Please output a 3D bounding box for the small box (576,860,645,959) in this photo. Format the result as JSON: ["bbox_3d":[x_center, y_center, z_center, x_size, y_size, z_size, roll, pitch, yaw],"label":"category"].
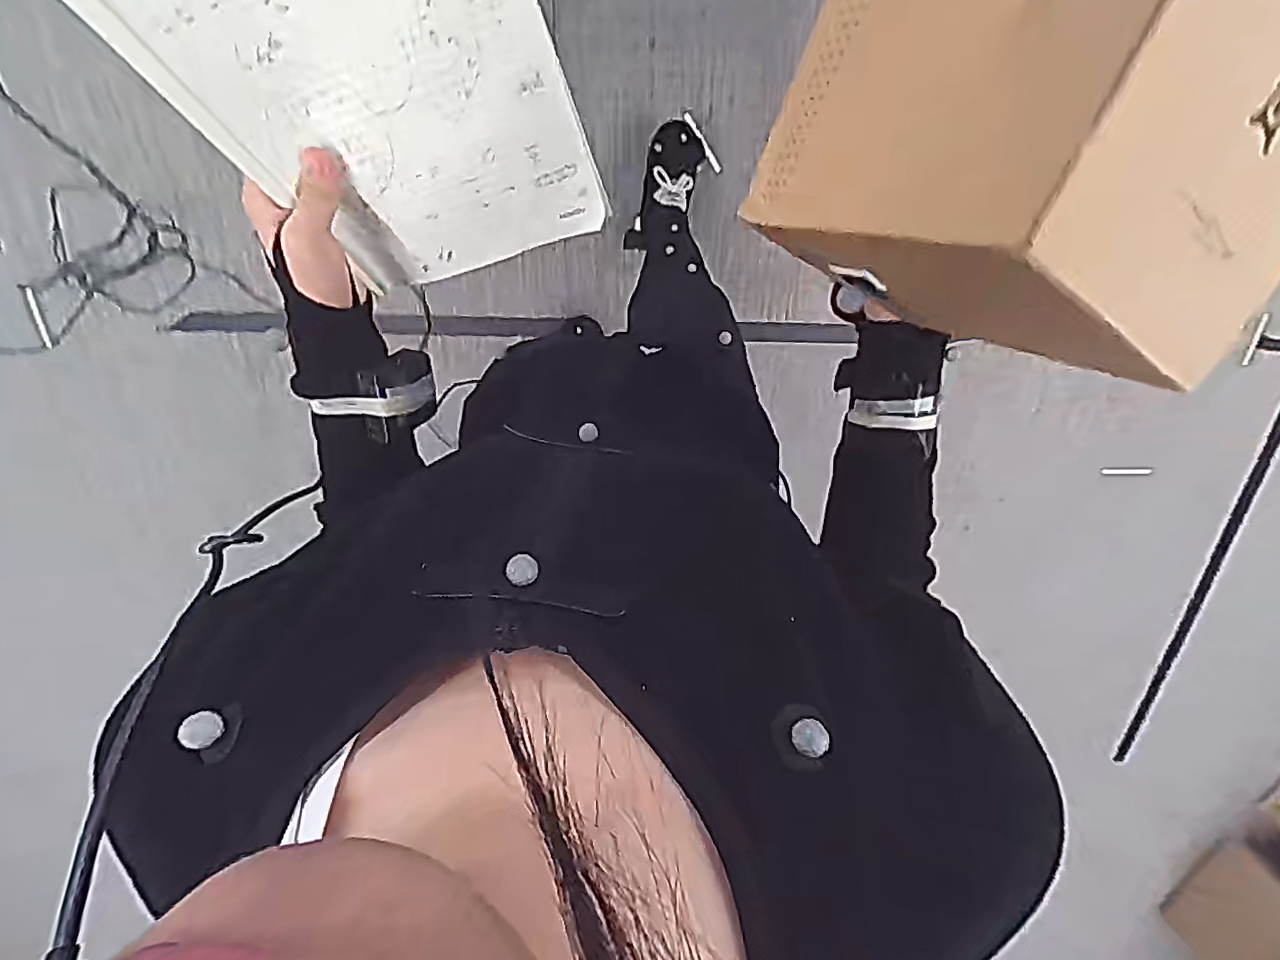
[{"bbox_3d":[-0.078,1.121,1.403,0.168,0.176,0.179,2,111,-3],"label":"small box"}]

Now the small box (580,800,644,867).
[{"bbox_3d":[-0.085,1.049,1.551,0.168,0.176,0.179,5,113,-5],"label":"small box"}]

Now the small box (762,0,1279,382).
[{"bbox_3d":[0.186,-0.170,0.245,0.168,0.176,0.179,13,111,-30],"label":"small box"}]
